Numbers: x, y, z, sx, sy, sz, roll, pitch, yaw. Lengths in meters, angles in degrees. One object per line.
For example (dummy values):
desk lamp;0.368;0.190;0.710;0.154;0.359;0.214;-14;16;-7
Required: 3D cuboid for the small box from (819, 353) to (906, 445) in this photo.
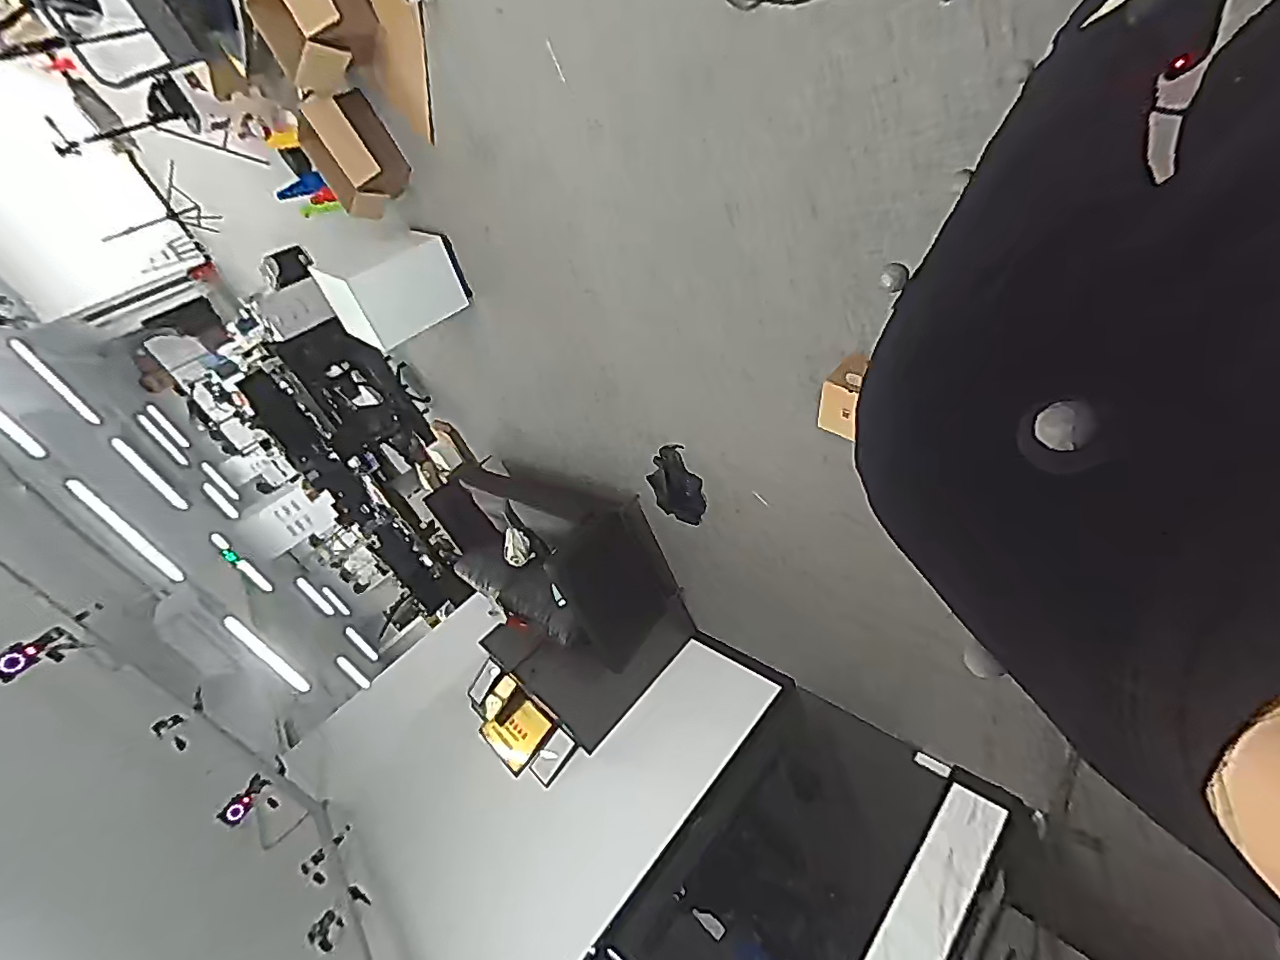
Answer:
small box;0.648;-0.239;1.577;0.168;0.176;0.179;31;149;33
